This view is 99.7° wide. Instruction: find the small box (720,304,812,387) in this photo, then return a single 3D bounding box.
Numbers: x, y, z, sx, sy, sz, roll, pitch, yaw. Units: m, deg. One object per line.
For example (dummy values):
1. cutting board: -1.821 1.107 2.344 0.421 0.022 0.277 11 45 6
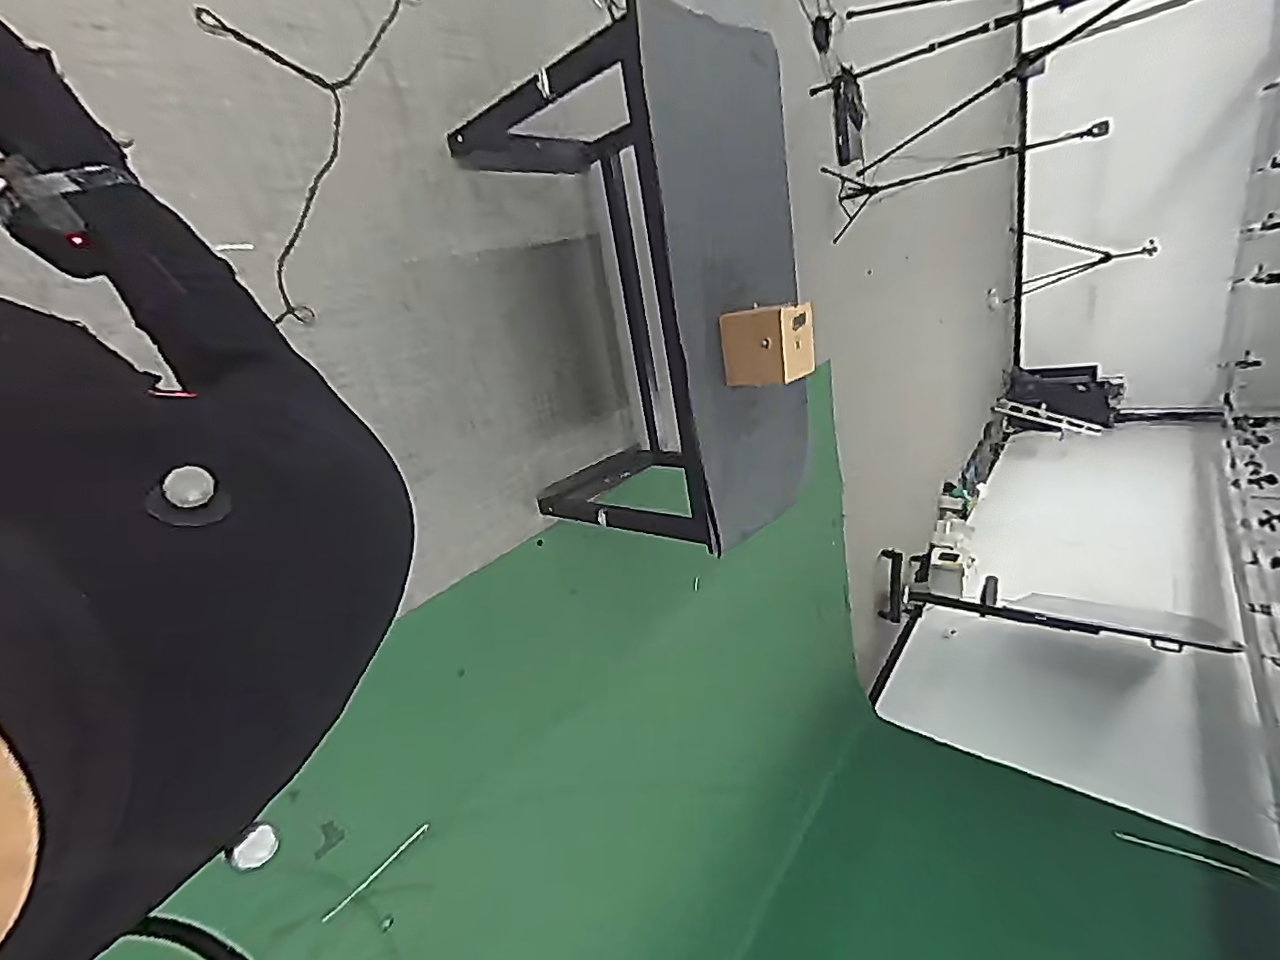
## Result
1. small box: 0.316 -0.336 1.362 0.168 0.176 0.179 -27 115 -44
